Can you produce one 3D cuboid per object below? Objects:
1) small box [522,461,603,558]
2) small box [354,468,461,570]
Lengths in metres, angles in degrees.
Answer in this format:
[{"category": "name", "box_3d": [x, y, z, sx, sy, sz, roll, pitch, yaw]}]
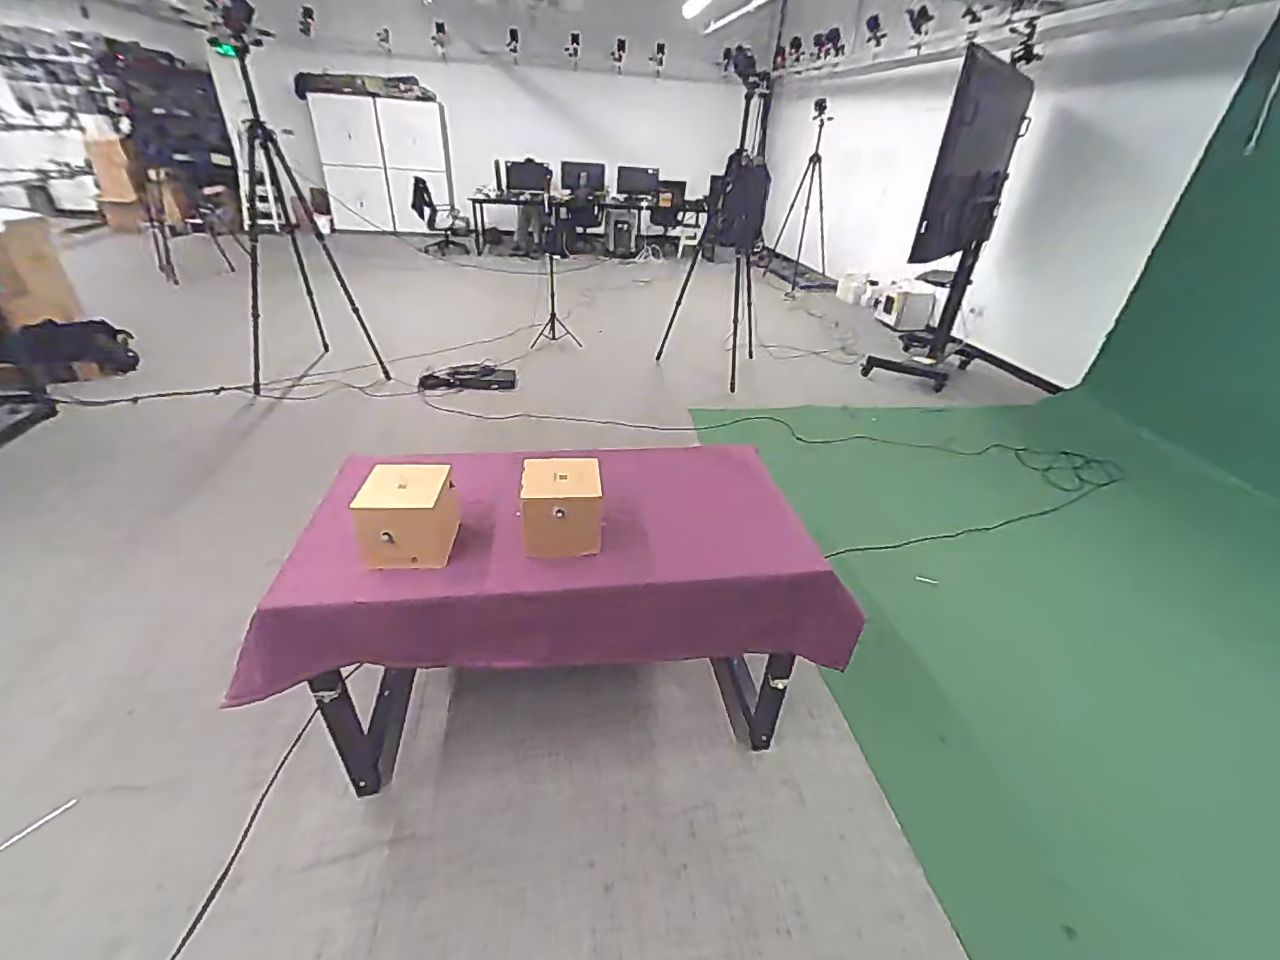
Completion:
[{"category": "small box", "box_3d": [-0.177, 0.070, 1.263, 0.179, 0.176, 0.168, -1, 32, -7]}, {"category": "small box", "box_3d": [-0.506, 0.088, 1.207, 0.168, 0.176, 0.179, 0, 31, -5]}]
